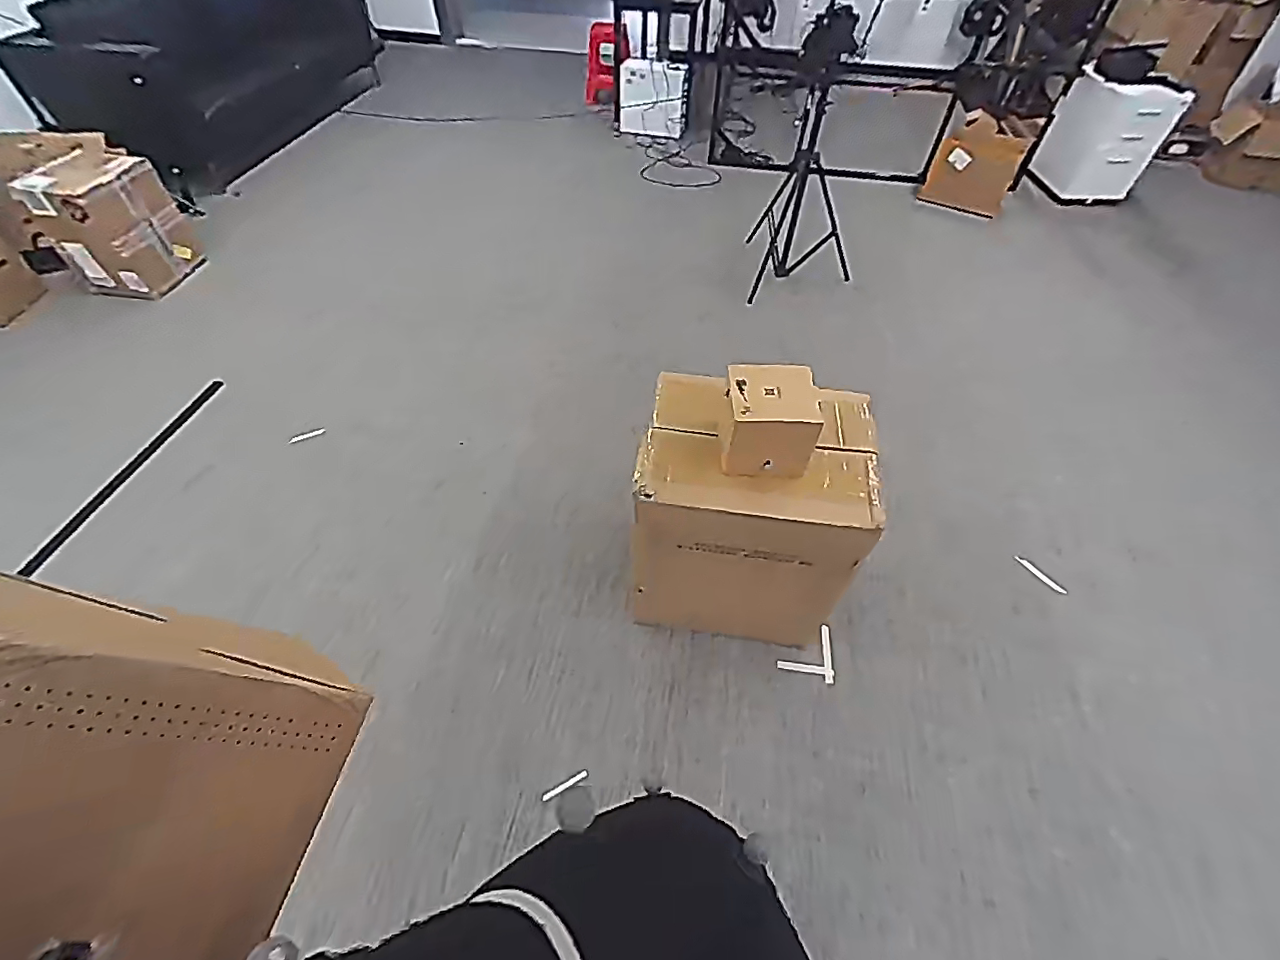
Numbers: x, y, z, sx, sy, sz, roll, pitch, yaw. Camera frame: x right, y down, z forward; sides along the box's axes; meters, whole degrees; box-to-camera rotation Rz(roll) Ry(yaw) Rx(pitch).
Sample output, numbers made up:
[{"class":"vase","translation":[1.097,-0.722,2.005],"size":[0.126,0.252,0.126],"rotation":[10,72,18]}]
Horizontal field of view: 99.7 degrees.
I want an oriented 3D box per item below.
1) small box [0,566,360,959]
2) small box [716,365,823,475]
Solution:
[{"class":"small box","translation":[-0.292,0.160,0.296],"size":[0.168,0.179,0.176],"rotation":[-1,64,44]},{"class":"small box","translation":[0.264,-0.123,1.145],"size":[0.179,0.176,0.168],"rotation":[1,52,0]}]
